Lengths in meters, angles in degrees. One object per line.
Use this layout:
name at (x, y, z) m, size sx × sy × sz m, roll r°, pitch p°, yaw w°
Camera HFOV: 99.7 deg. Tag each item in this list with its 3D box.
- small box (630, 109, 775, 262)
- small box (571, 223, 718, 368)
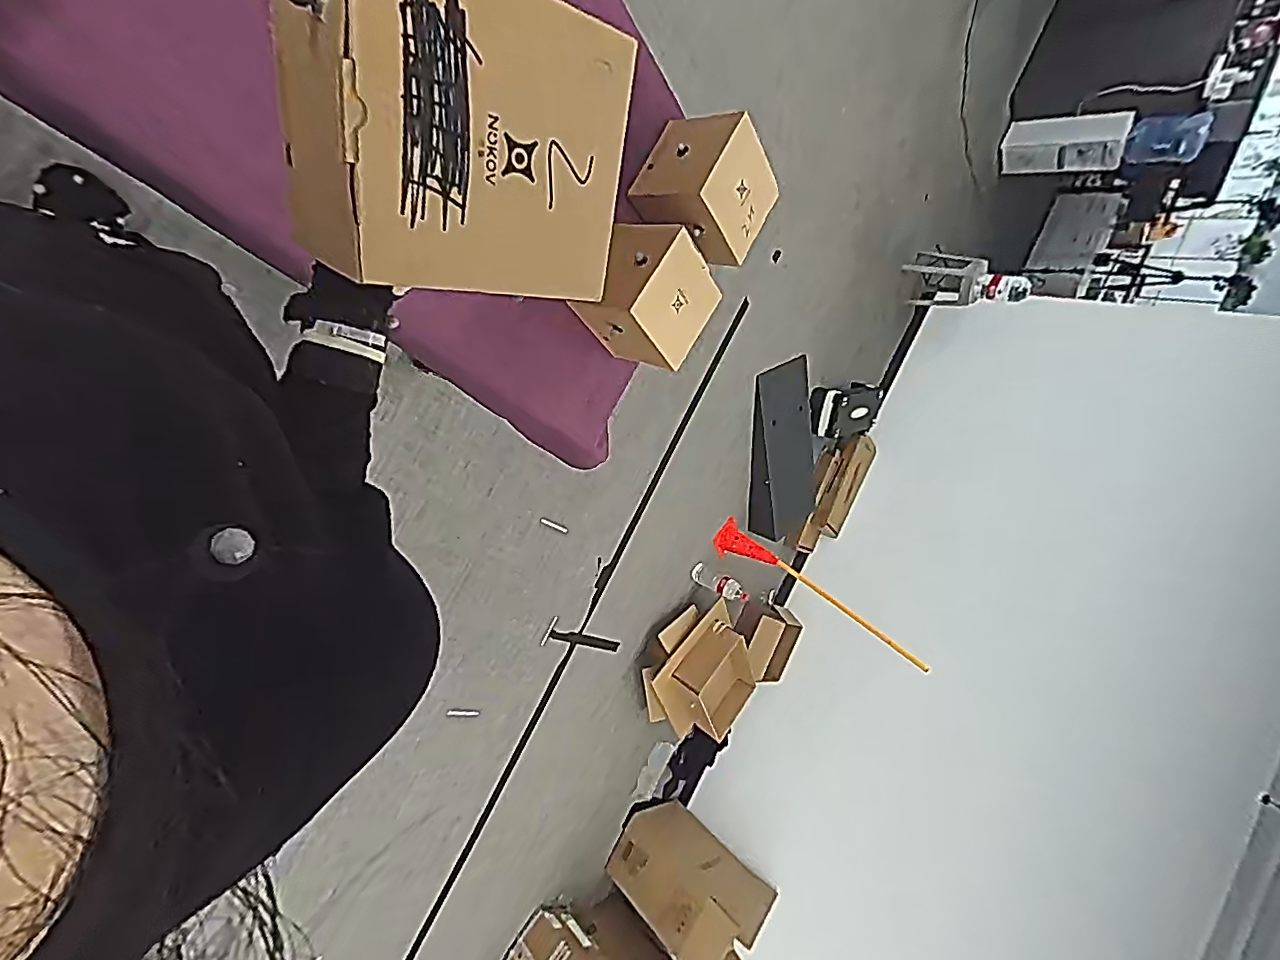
small box at (0.112, -0.523, 0.979) m, size 0.179 × 0.176 × 0.168 m, roll 36°, pitch 82°, yaw -51°
small box at (0.004, -0.328, 0.964) m, size 0.168 × 0.176 × 0.179 m, roll 41°, pitch 76°, yaw -49°
